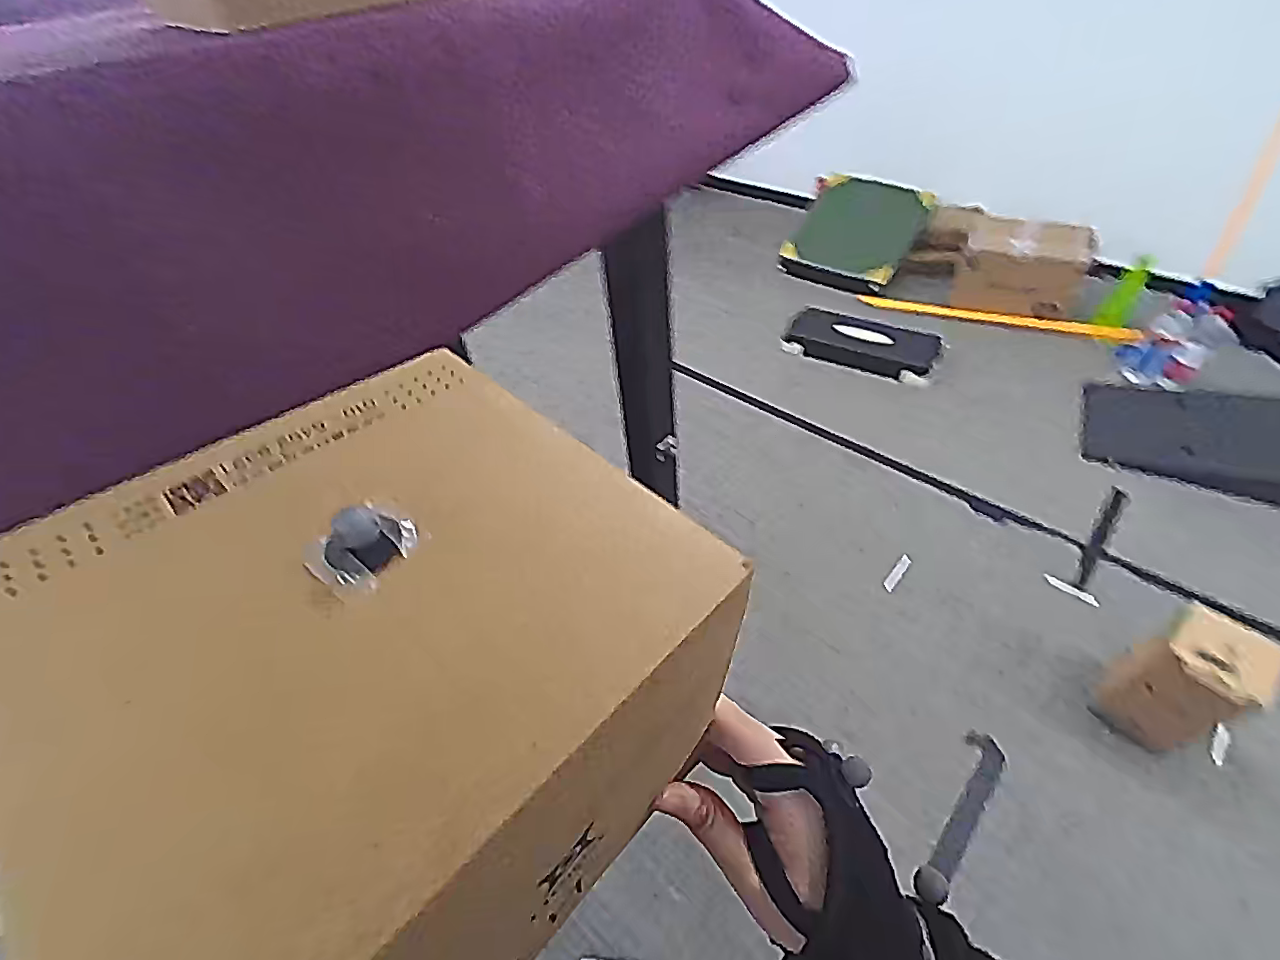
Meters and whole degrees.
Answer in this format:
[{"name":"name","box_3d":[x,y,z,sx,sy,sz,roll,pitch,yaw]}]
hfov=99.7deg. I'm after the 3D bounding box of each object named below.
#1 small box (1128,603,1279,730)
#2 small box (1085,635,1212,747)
[{"name":"small box","box_3d":[1.247,0.418,1.204,0.179,0.176,0.168,-34,53,-25]},{"name":"small box","box_3d":[1.258,0.525,1.329,0.179,0.176,0.168,35,58,30]}]
